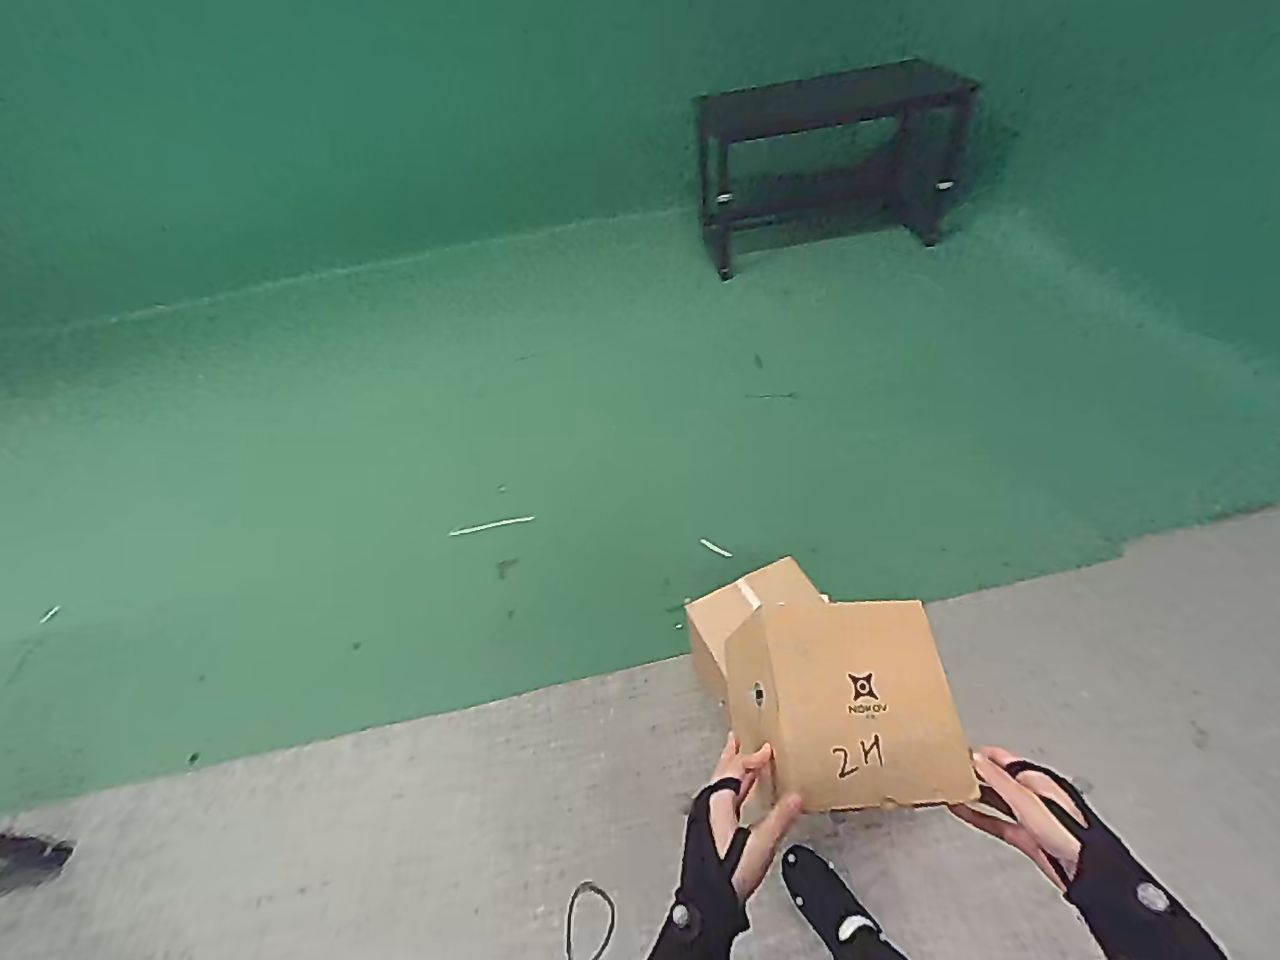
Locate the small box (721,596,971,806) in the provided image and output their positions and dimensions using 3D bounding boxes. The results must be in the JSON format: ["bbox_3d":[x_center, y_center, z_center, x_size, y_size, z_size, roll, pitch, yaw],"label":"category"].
[{"bbox_3d":[0.187,0.231,0.557,0.168,0.176,0.179,-1,60,-6],"label":"small box"}]

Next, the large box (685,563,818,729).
[{"bbox_3d":[0.350,0.496,1.351,0.320,0.320,0.408,-22,47,-12],"label":"large box"}]
